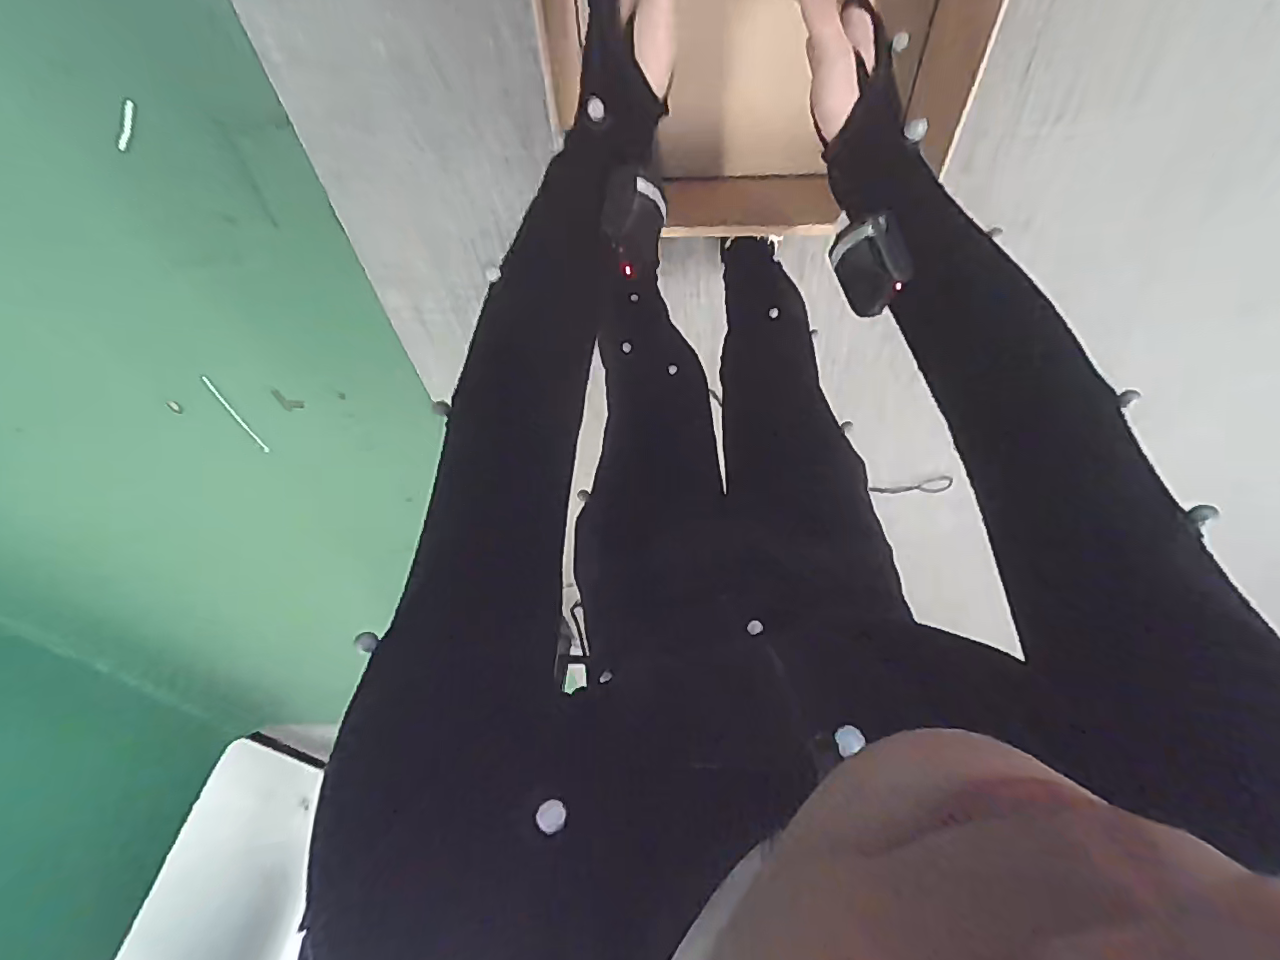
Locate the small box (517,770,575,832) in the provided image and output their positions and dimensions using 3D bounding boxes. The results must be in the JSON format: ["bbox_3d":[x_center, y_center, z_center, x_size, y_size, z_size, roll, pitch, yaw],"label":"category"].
[{"bbox_3d":[-0.337,1.167,1.966,0.168,0.176,0.179,1,141,4],"label":"small box"}]

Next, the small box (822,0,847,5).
[{"bbox_3d":[0.098,-0.487,0.392,0.168,0.176,0.179,8,130,-16],"label":"small box"}]
